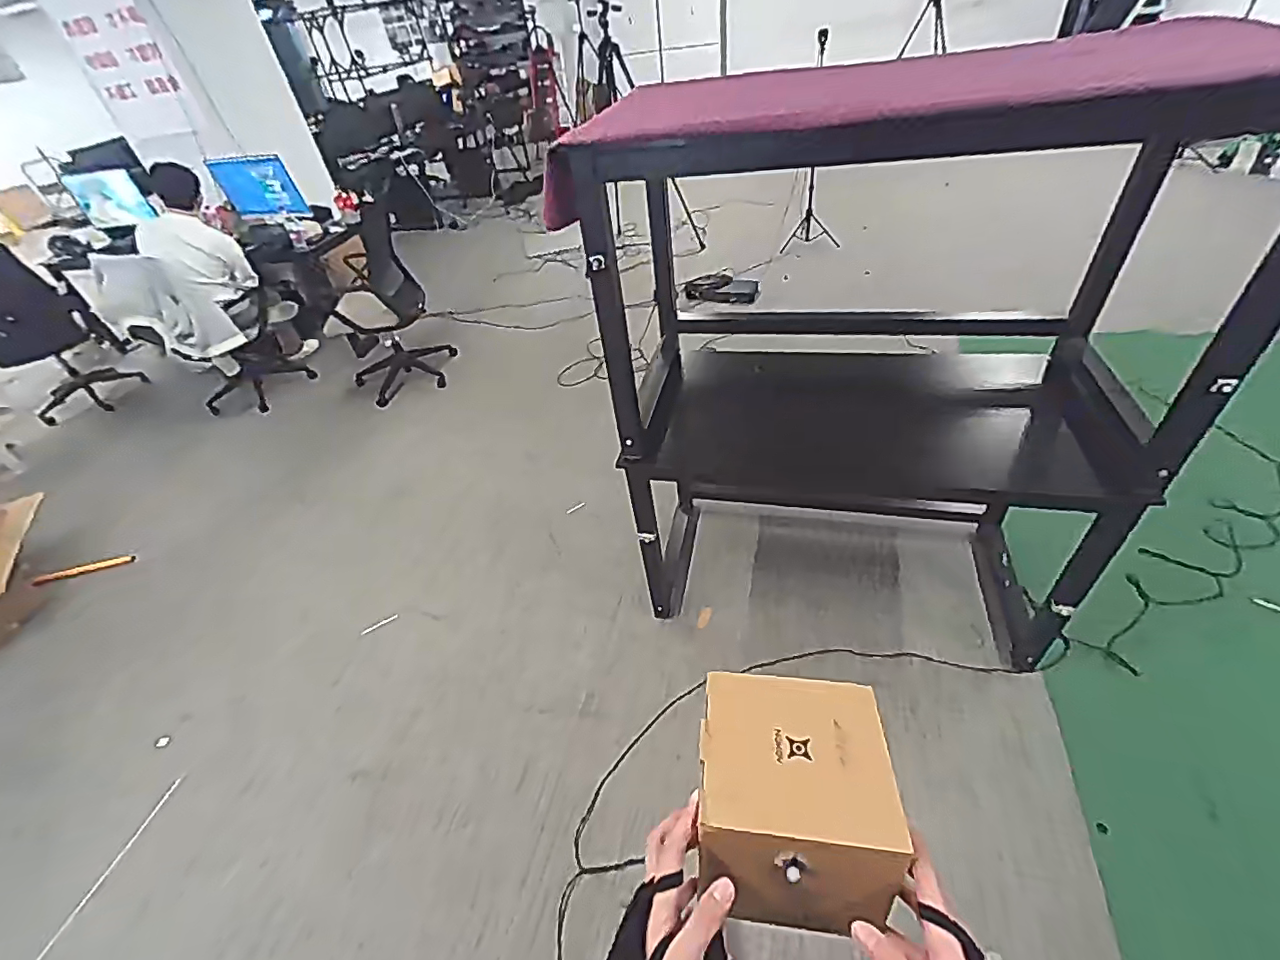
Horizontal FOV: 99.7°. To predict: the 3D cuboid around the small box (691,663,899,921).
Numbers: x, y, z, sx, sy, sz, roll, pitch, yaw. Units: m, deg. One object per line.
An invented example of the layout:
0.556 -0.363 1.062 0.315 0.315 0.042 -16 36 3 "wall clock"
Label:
0.148 0.318 0.564 0.179 0.176 0.168 2 30 10 "small box"
